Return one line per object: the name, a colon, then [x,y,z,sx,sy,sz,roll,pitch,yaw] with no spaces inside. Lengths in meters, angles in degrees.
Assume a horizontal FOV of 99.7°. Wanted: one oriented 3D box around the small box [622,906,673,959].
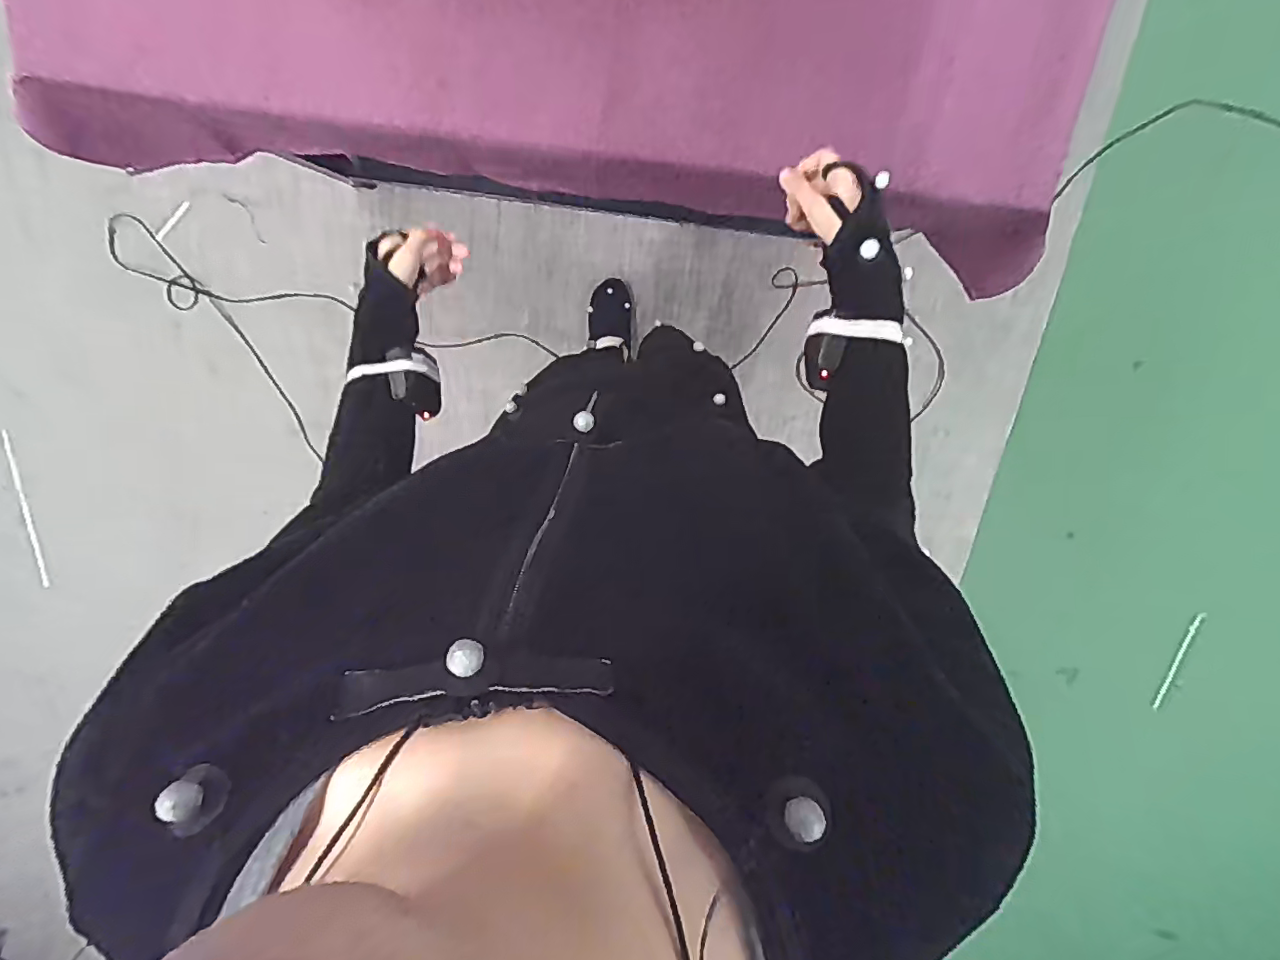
small box: [0.025,1.709,1.985,0.179,0.176,0.168,2,107,-2]
